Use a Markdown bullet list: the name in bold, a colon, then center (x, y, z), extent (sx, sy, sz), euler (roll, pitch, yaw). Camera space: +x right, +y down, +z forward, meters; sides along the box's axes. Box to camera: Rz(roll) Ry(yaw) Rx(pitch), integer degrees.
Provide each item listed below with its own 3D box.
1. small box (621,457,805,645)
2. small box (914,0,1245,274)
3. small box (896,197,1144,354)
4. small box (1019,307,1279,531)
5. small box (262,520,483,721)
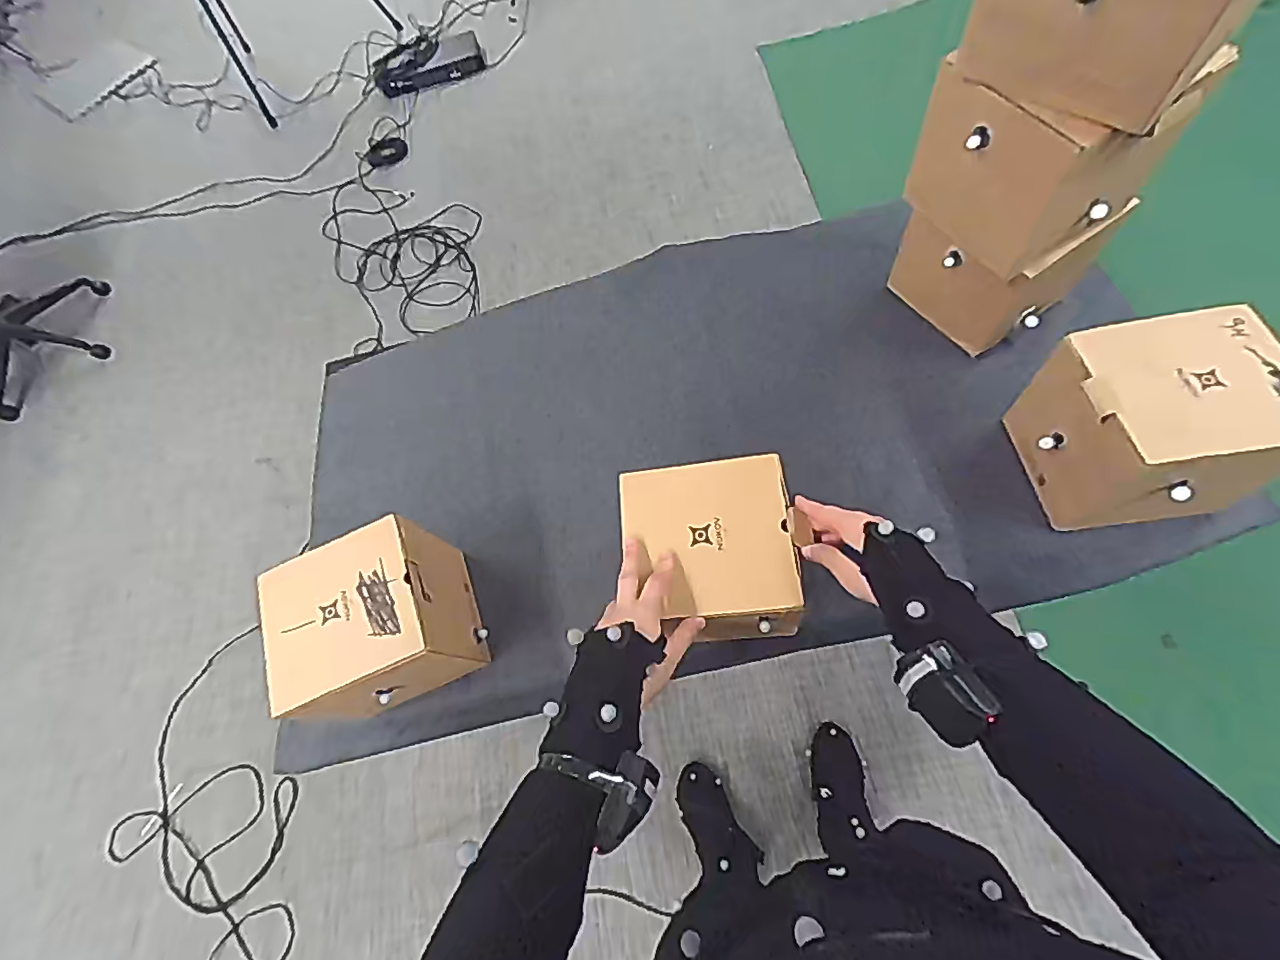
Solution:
- **small box**: center (0.083, 0.092, 0.623), extent (0.179, 0.176, 0.168), euler (-7, 65, 8)
- **small box**: center (0.425, -0.359, 0.568), extent (0.168, 0.176, 0.179), euler (-31, 66, 0)
- **small box**: center (0.476, -0.304, 0.716), extent (0.168, 0.176, 0.179), euler (-35, 67, -2)
- **small box**: center (0.555, -0.055, 0.591), extent (0.179, 0.176, 0.168), euler (-9, 62, 8)
- **small box**: center (-0.310, 0.174, 0.657), extent (0.179, 0.176, 0.168), euler (-24, 66, 0)
